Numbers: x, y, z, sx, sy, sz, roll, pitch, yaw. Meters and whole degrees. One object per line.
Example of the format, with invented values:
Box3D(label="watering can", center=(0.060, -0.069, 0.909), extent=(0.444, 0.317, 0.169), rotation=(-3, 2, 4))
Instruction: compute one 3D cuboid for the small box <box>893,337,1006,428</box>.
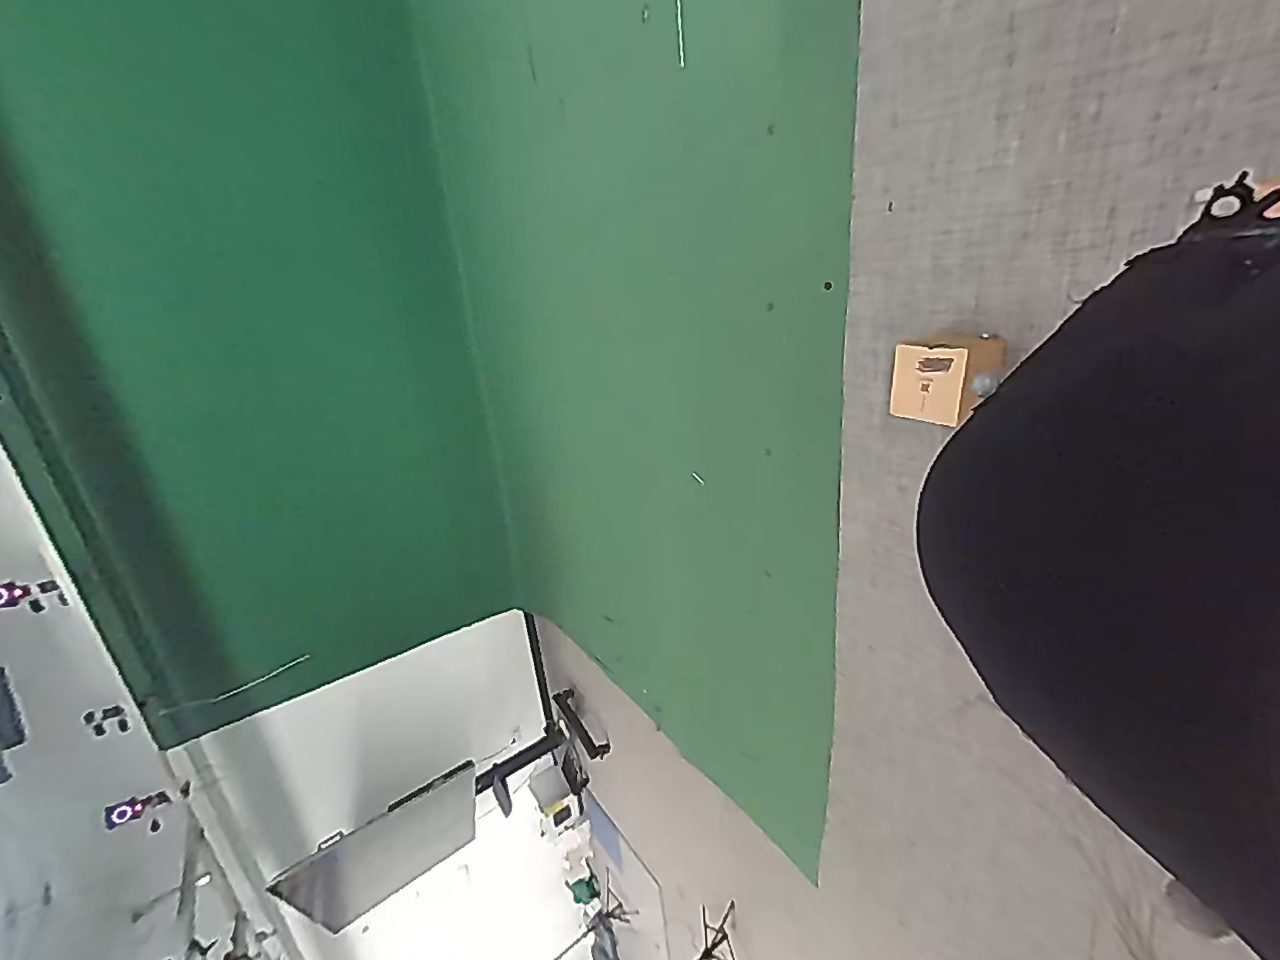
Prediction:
Box3D(label="small box", center=(0.731, -0.239, 1.278), extent=(0.168, 0.176, 0.179), rotation=(26, 127, 51))
